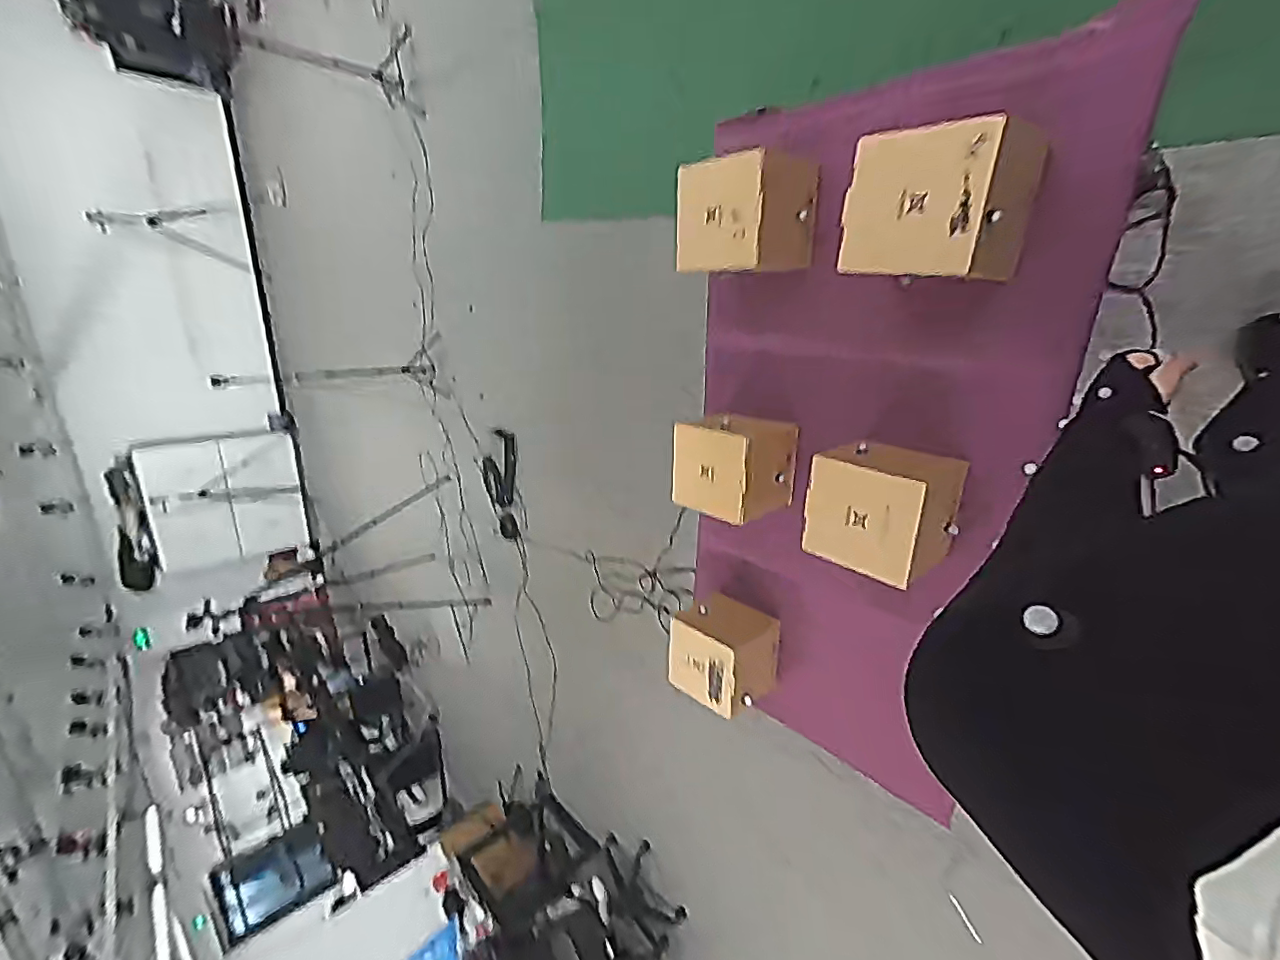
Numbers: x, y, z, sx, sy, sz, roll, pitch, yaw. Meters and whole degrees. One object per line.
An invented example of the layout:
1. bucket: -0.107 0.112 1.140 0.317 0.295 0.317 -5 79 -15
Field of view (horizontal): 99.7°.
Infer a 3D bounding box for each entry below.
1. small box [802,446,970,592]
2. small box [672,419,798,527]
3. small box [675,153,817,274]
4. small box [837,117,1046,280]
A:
1. small box: 0.388 0.048 0.860 0.179 0.176 0.168 21 117 44
2. small box: 0.185 -0.024 1.066 0.179 0.176 0.168 16 113 43
3. small box: 0.179 -0.447 0.936 0.179 0.176 0.168 18 117 43
4. small box: 0.398 -0.359 0.723 0.179 0.176 0.168 24 120 45
